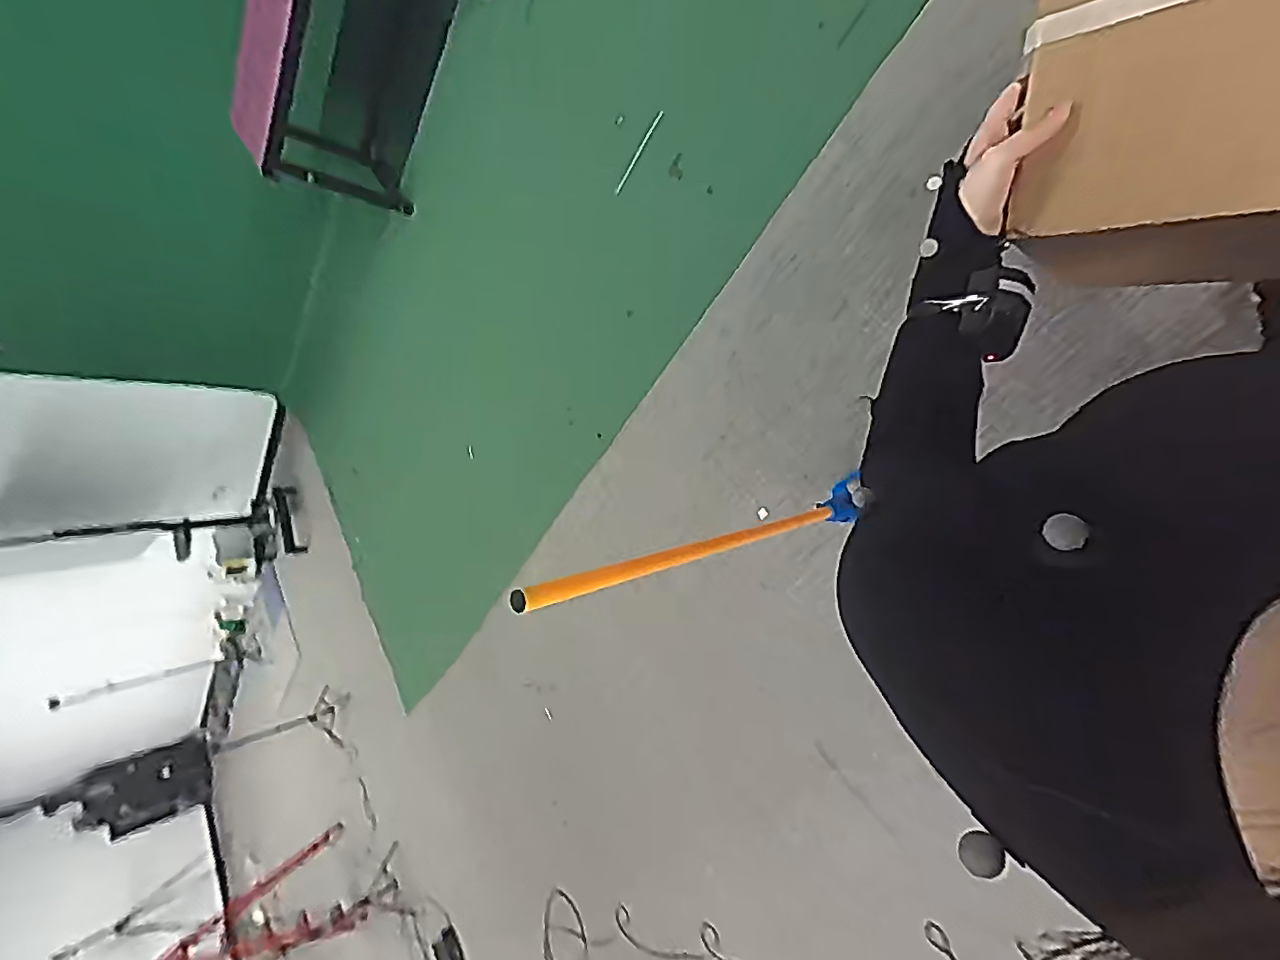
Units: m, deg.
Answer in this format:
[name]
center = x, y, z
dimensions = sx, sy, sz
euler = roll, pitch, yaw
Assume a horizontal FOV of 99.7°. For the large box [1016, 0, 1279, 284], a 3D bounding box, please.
[large box]
center = 0.569, -0.354, 0.415
dimensions = 0.408, 0.320, 0.320
euler = 11, 104, 42
